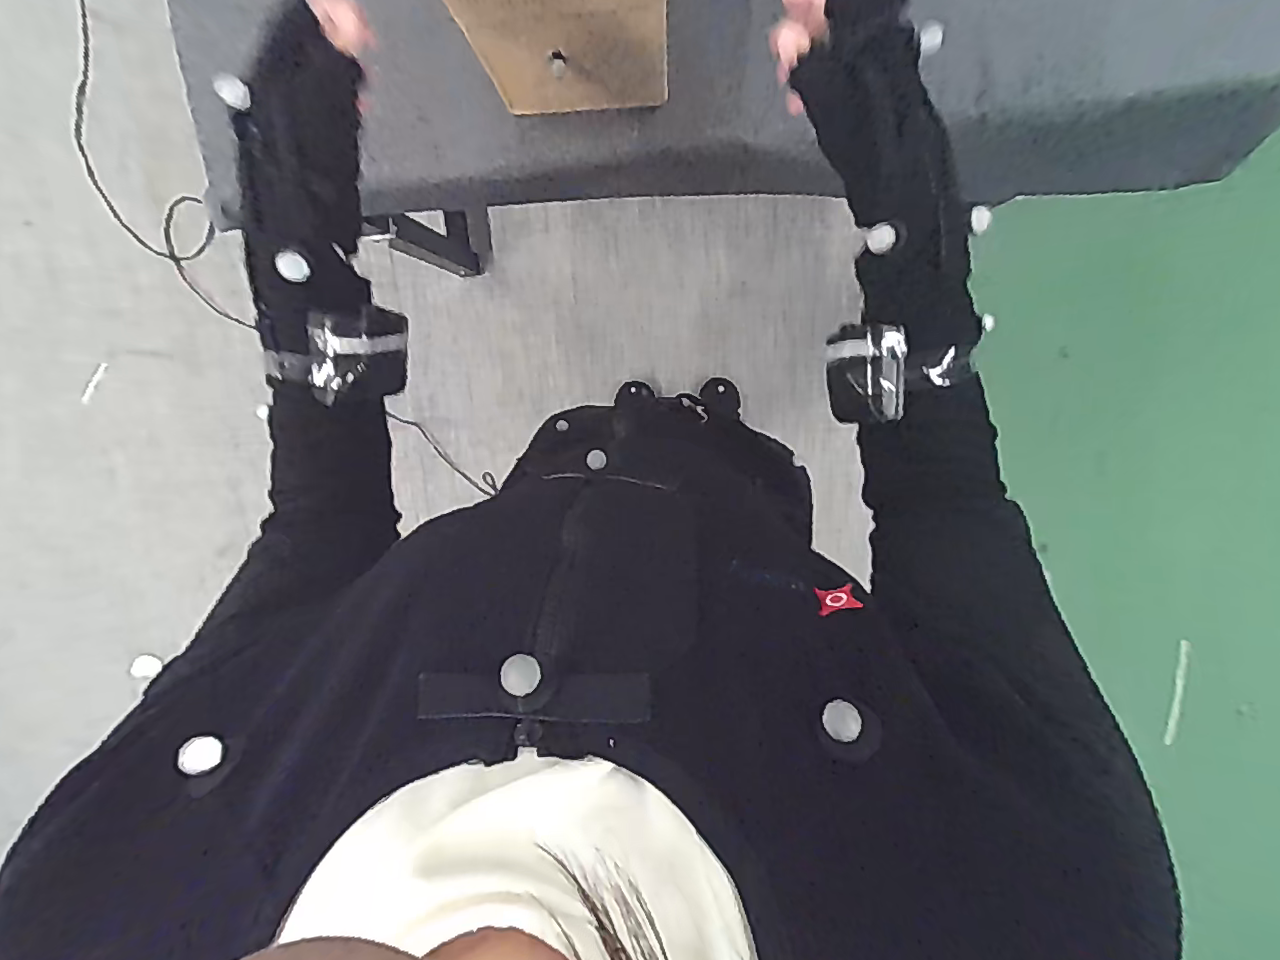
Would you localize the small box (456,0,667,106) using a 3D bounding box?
[{"bbox_3d":[-0.065,-0.488,0.516,0.179,0.176,0.168,-1,100,4],"label":"small box"}]

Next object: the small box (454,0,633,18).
[{"bbox_3d":[-0.074,-0.455,0.357,0.179,0.176,0.168,-2,99,5],"label":"small box"}]
